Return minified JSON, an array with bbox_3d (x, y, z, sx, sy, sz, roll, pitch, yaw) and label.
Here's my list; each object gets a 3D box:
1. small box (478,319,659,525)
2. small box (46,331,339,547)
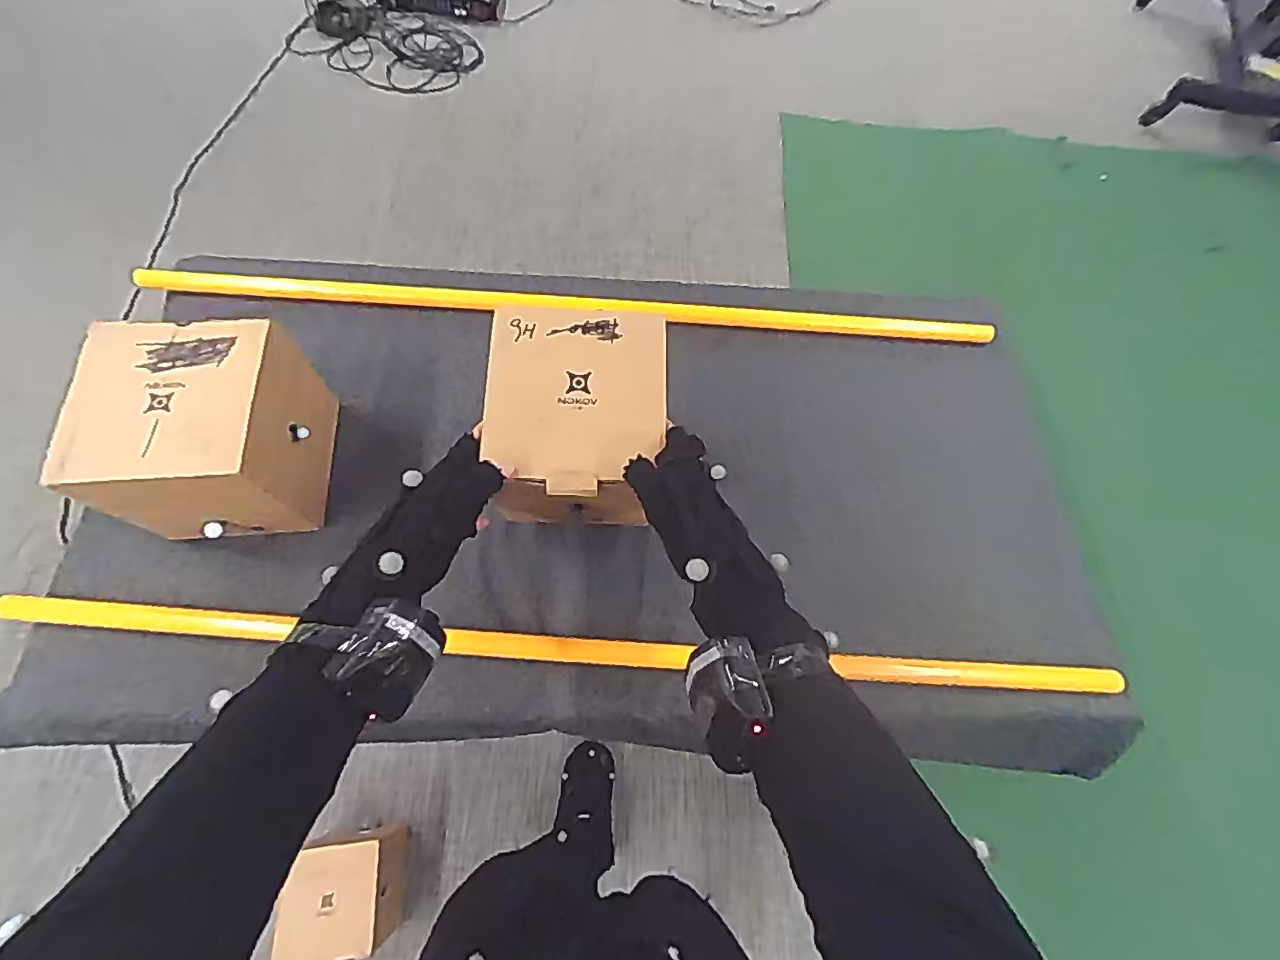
[{"bbox_3d":[-0.066,-0.050,0.580,0.168,0.176,0.179,-1,72,-3],"label":"small box"},{"bbox_3d":[-0.451,-0.038,0.585,0.168,0.176,0.179,-3,67,-6],"label":"small box"}]
